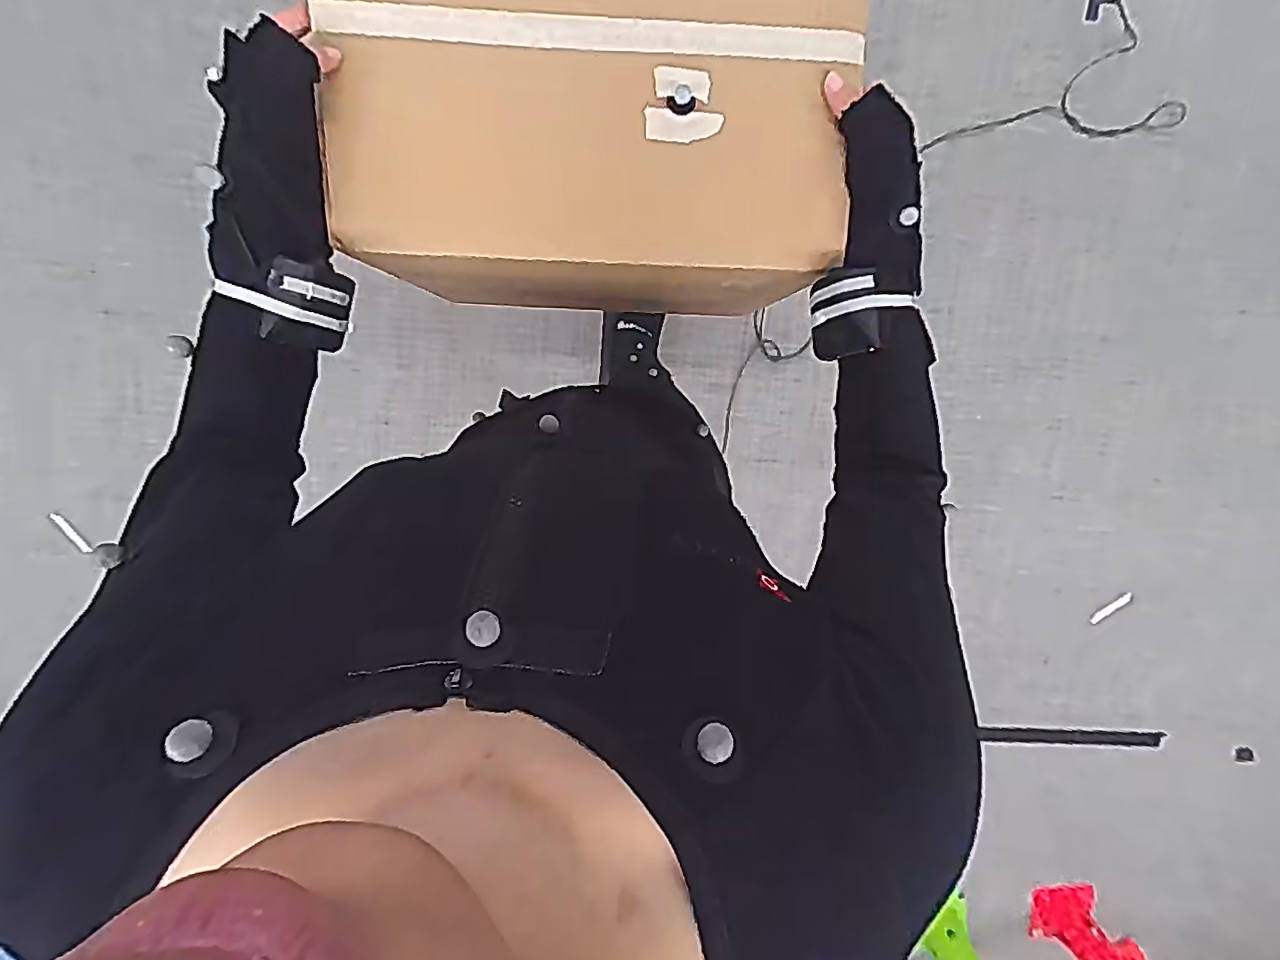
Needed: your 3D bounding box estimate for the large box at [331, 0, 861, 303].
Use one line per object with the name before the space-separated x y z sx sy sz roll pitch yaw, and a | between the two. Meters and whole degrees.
large box | -0.039 -0.366 0.554 0.408 0.320 0.320 1 101 -3
